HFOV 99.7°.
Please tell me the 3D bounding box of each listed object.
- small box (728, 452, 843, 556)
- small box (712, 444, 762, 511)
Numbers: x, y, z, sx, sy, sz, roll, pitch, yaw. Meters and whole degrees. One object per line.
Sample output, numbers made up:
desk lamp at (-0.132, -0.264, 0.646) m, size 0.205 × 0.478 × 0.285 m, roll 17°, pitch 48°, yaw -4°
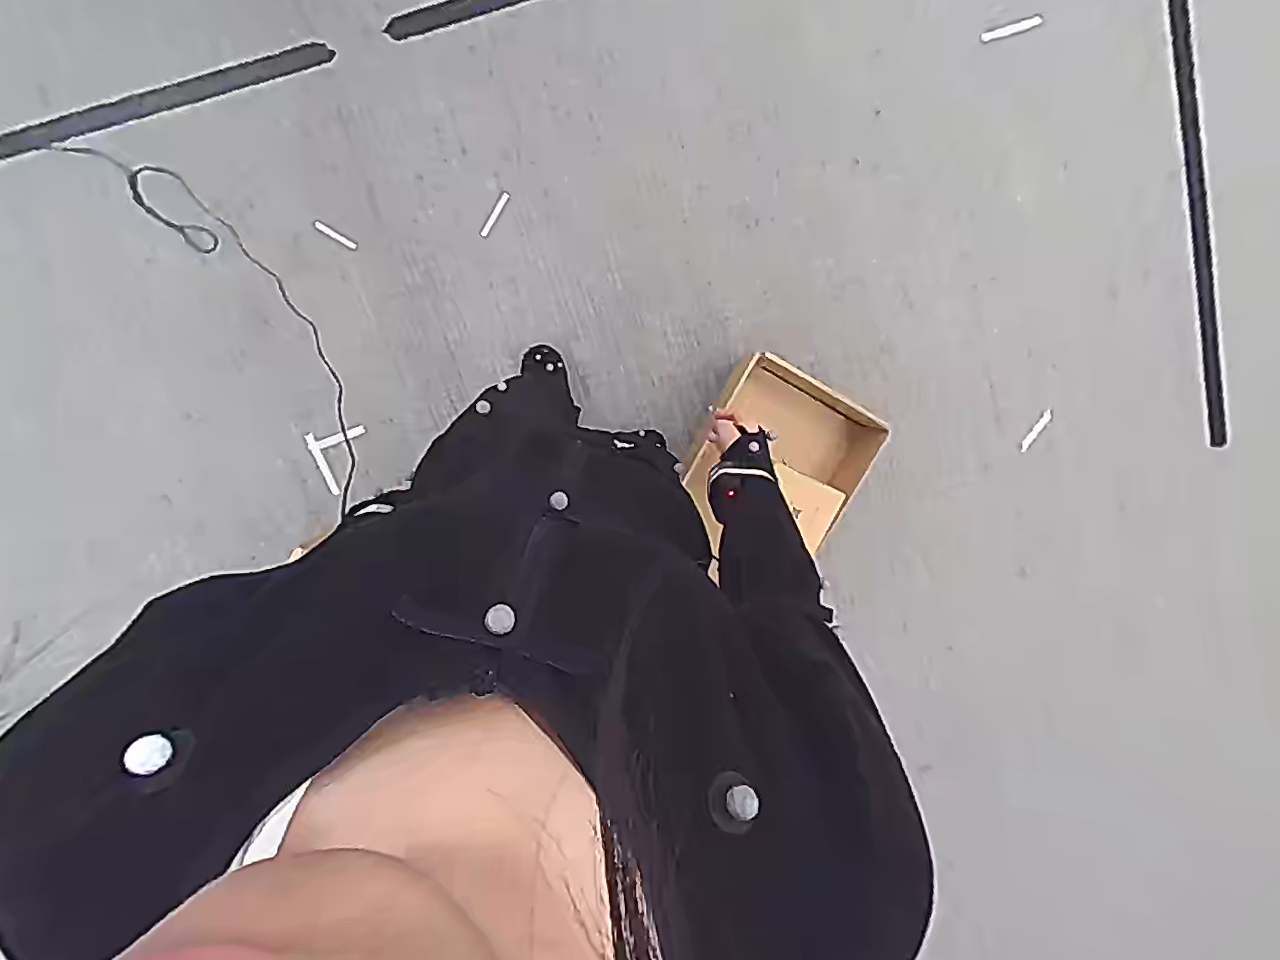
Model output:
small box at (0.322, 0.046, 1.243) m, size 0.179 × 0.176 × 0.168 m, roll 24°, pitch 100°, yaw -8°
small box at (0.309, 0.018, 1.403) m, size 0.179 × 0.176 × 0.168 m, roll 28°, pitch 98°, yaw -8°
